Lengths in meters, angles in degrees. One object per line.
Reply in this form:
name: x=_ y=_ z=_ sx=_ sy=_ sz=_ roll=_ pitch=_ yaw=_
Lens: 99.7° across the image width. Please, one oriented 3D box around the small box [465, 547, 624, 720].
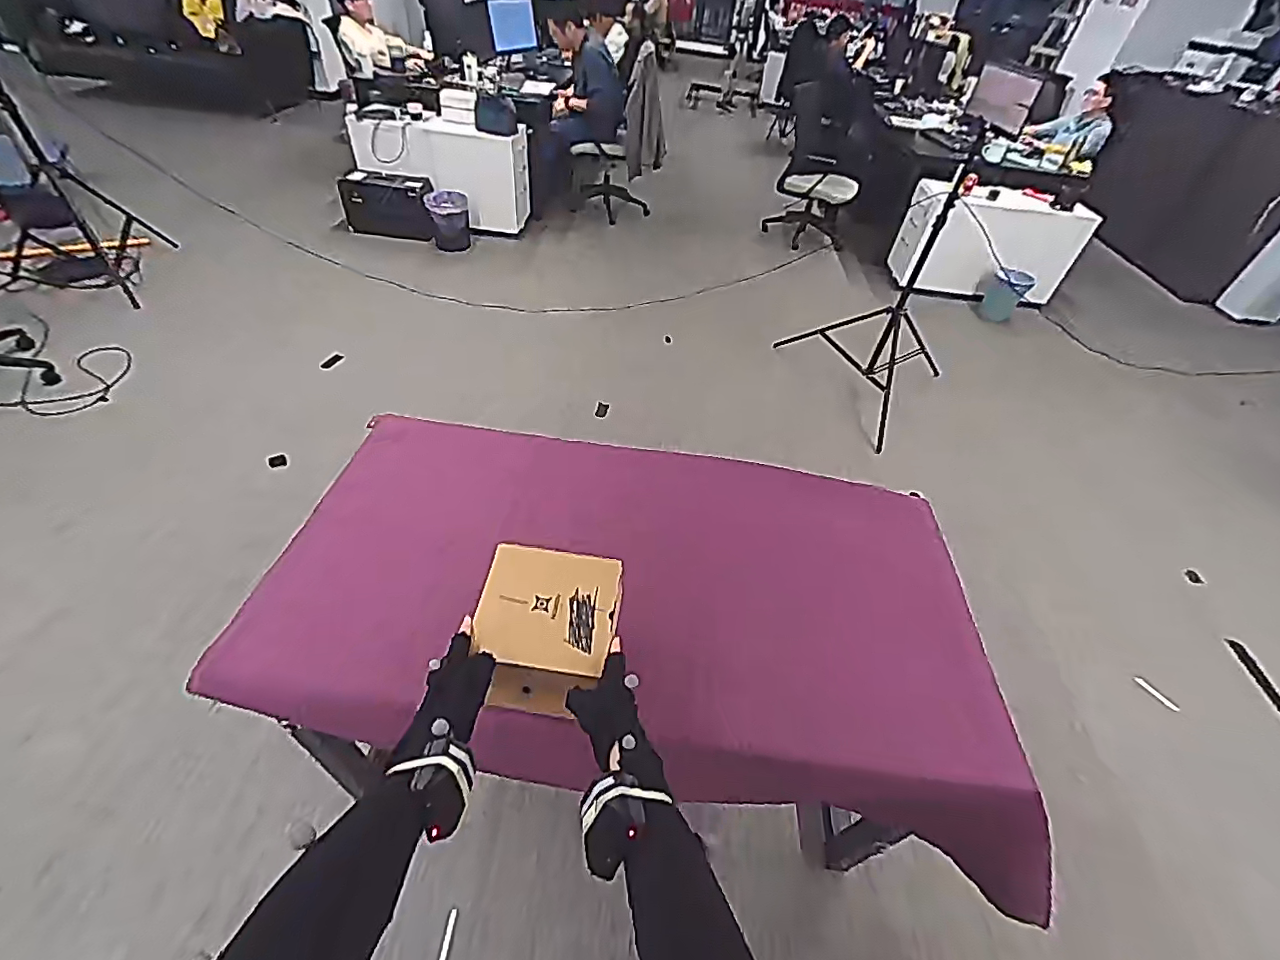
small box: x=-0.128 y=0.221 z=0.760 sx=0.179 sy=0.176 sz=0.168 roll=10 pitch=47 yaw=-2
